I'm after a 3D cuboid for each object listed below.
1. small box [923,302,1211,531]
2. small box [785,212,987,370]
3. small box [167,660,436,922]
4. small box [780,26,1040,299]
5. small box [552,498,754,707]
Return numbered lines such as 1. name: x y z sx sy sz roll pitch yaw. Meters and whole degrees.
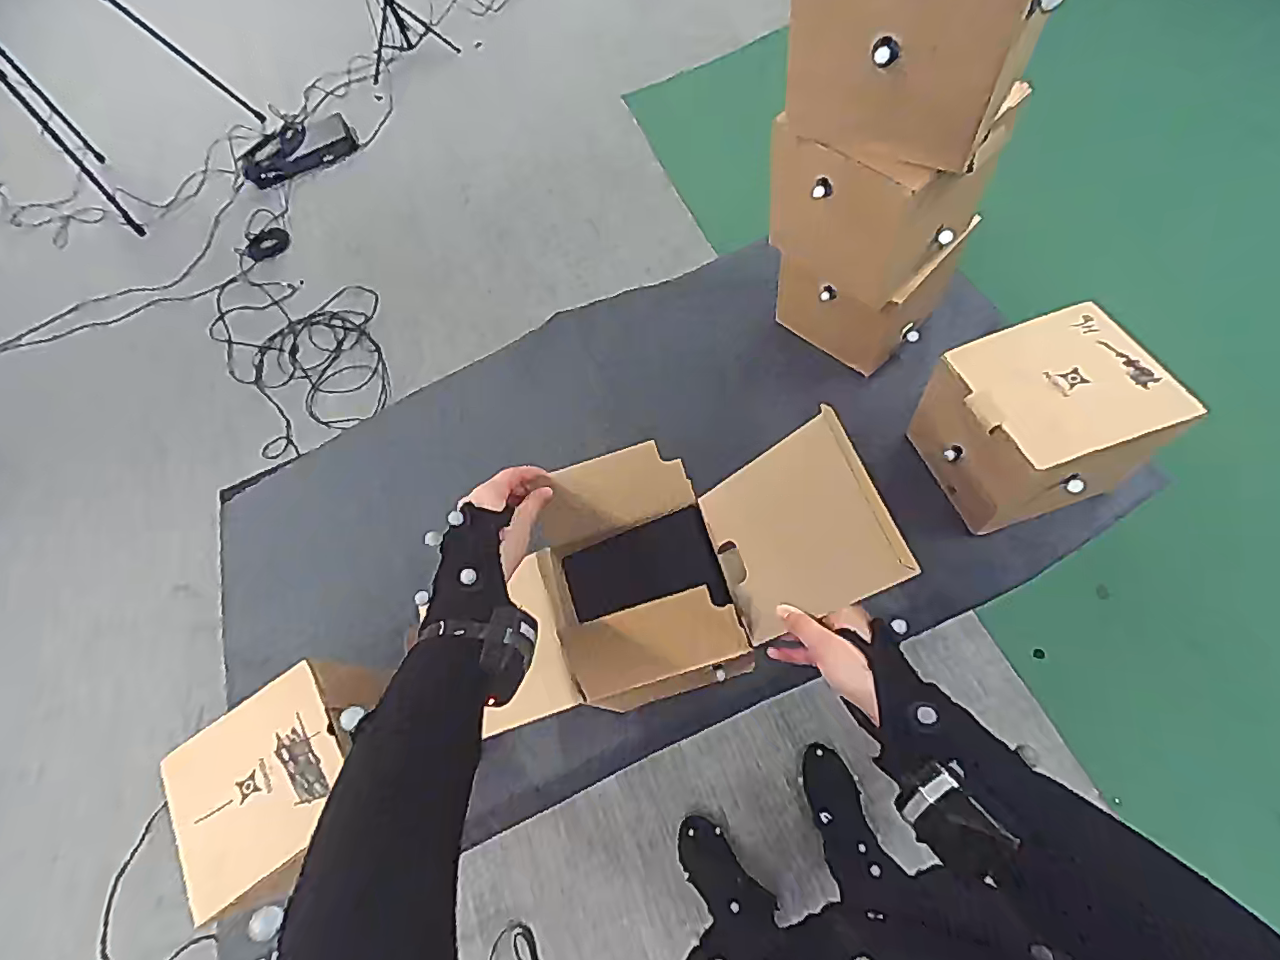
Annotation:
1. small box: 0.454 -0.062 0.620 0.179 0.176 0.168 -20 61 2
2. small box: 0.319 -0.284 0.746 0.168 0.176 0.179 -45 68 -8
3. small box: -0.355 0.324 0.601 0.179 0.176 0.168 -35 66 -5
4. small box: 0.271 -0.338 0.597 0.168 0.176 0.179 -42 67 -5
5. small box: 0.020 0.148 0.614 0.179 0.176 0.168 -18 63 1
